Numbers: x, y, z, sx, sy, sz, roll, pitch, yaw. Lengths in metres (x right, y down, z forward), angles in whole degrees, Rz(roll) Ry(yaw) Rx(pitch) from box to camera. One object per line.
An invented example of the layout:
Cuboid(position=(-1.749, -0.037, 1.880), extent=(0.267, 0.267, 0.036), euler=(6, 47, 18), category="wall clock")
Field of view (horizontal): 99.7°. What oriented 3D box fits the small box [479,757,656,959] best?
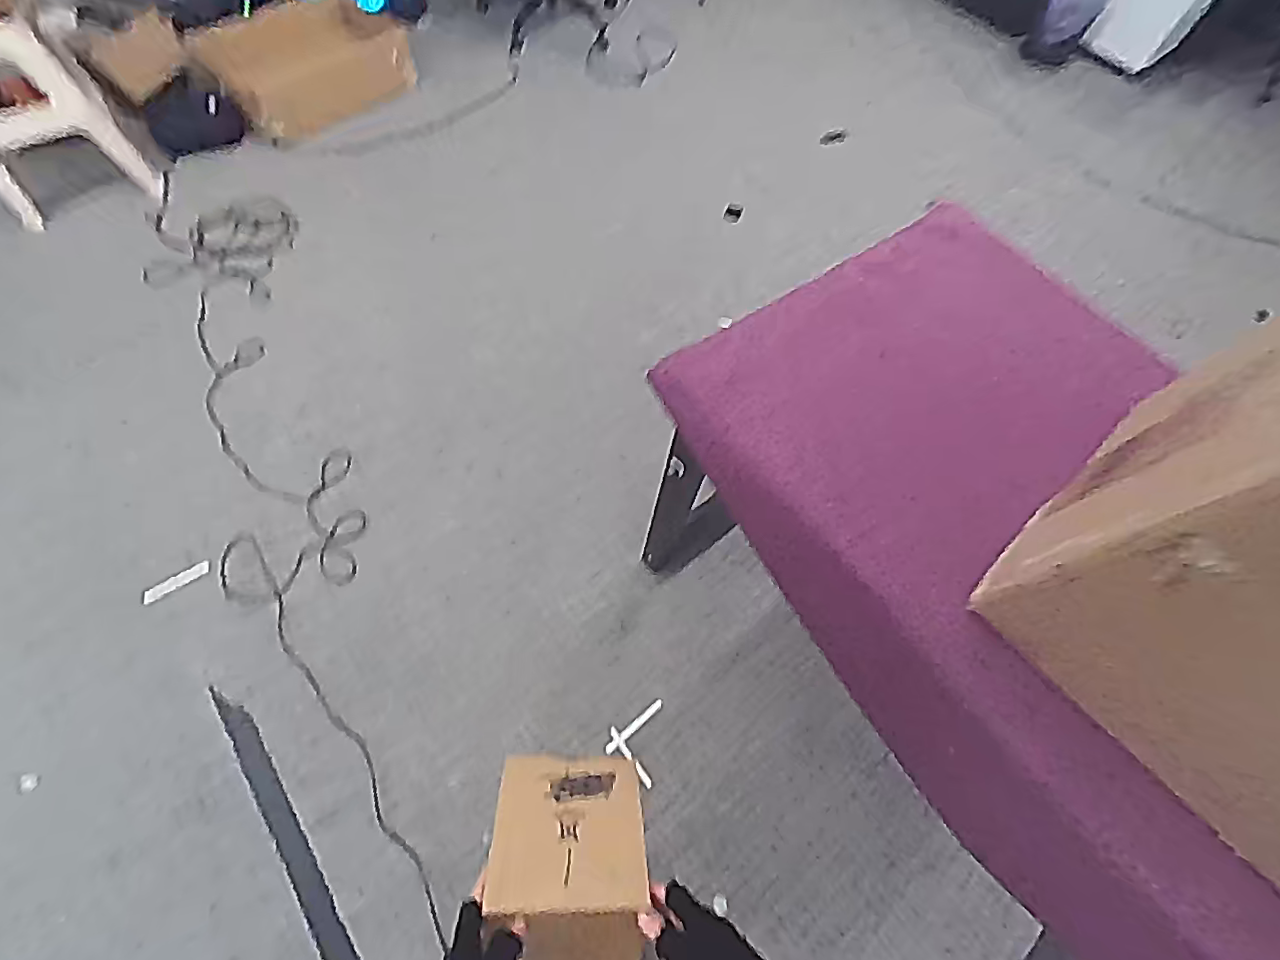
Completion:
Cuboid(position=(-0.083, 0.448, 0.608), extent=(0.168, 0.176, 0.179), euler=(6, 21, -8), category="small box")
